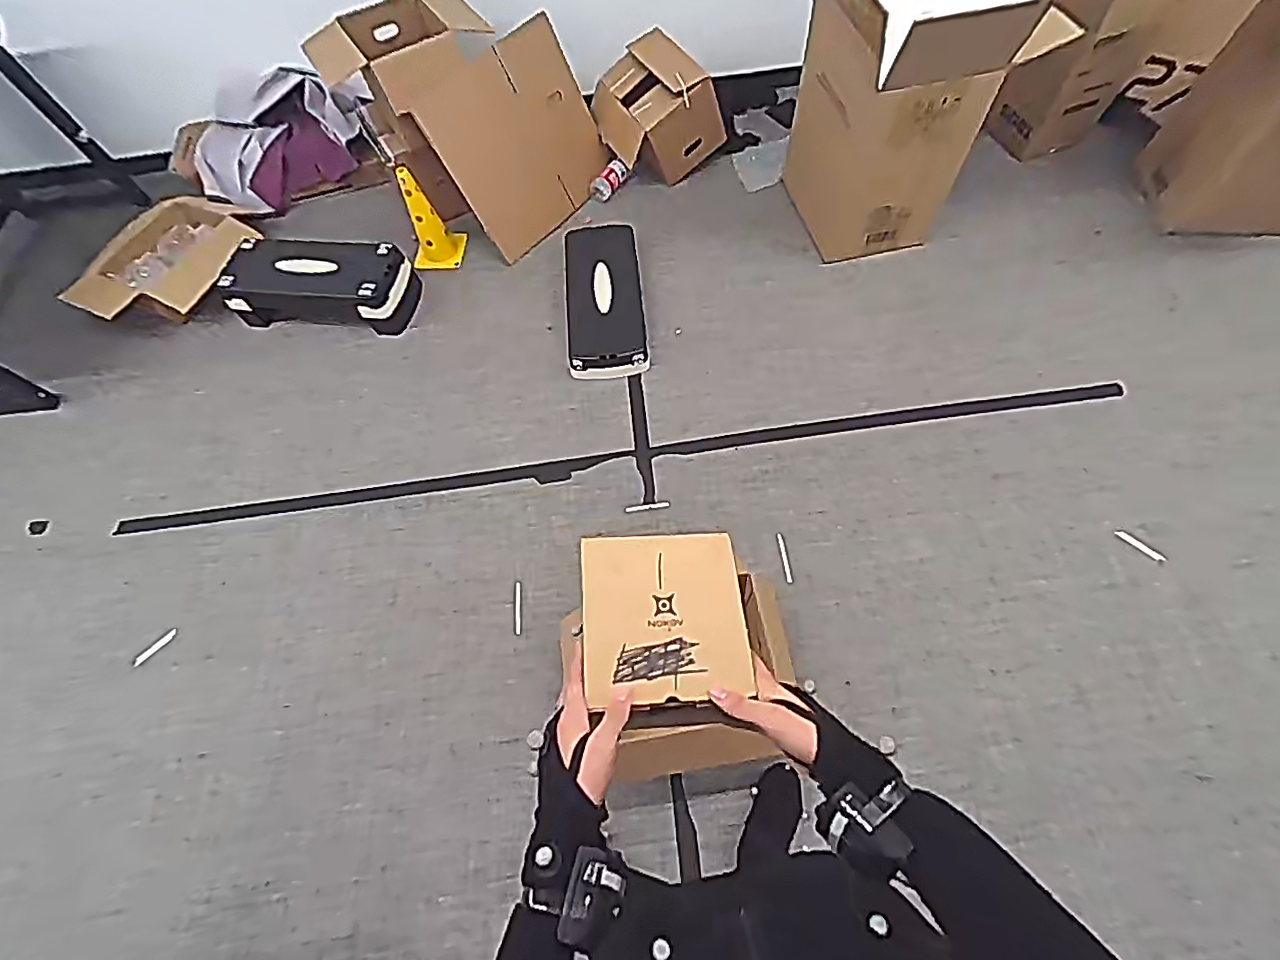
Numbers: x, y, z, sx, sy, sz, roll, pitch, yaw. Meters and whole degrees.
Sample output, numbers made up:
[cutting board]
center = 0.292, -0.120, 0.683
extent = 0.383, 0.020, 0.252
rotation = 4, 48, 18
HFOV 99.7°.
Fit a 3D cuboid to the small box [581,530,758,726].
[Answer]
[small box]
center = 0.019, 0.172, 0.605
extent = 0.168, 0.176, 0.179
rotation = -1, 58, -6
